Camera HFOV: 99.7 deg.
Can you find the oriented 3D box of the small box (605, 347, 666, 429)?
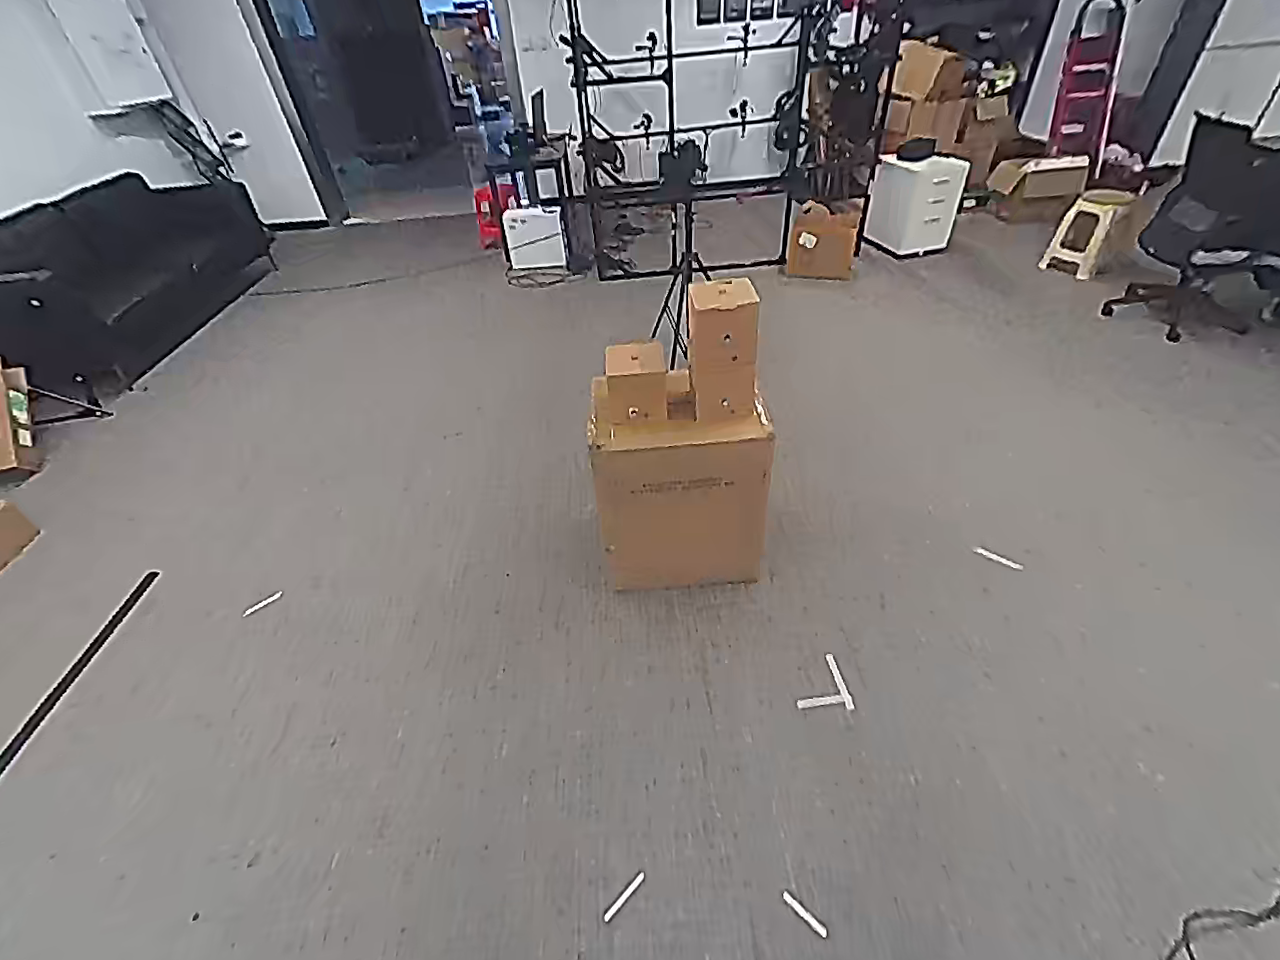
[{"bbox_3d":[-0.014,-0.268,1.580,0.168,0.176,0.179,-6,41,0],"label":"small box"}]

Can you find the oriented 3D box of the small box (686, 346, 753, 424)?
[{"bbox_3d":[0.225,-0.282,1.569,0.168,0.176,0.179,-6,41,1],"label":"small box"}]

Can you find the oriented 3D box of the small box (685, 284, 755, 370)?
[{"bbox_3d":[0.215,-0.410,1.466,0.168,0.176,0.179,-5,41,2],"label":"small box"}]
